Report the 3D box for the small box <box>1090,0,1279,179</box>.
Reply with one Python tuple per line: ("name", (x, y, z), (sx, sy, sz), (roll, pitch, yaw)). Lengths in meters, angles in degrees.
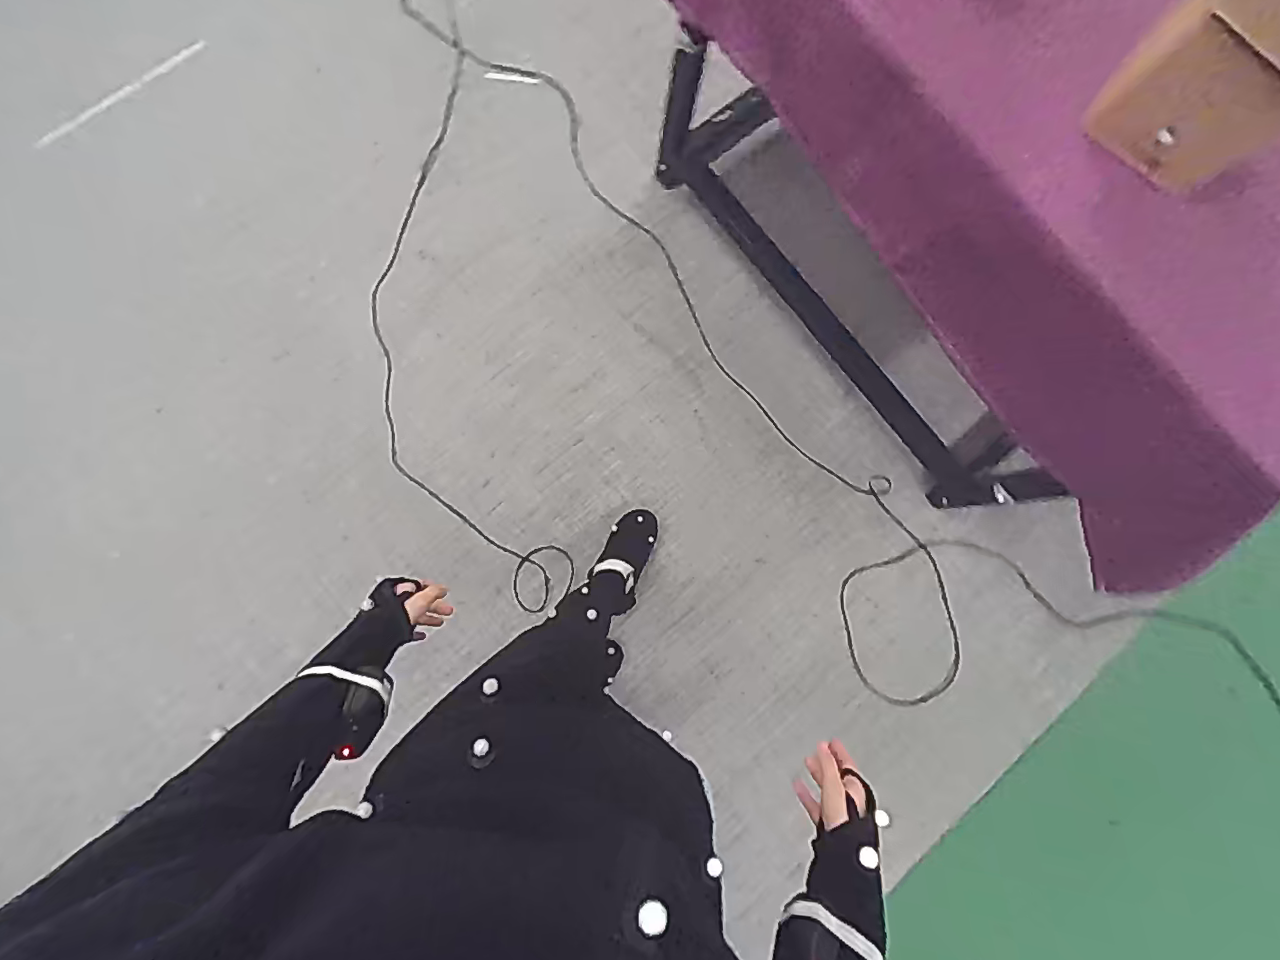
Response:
("small box", (0.711, -0.520, 0.654), (0.168, 0.176, 0.179), (37, 83, 1))
